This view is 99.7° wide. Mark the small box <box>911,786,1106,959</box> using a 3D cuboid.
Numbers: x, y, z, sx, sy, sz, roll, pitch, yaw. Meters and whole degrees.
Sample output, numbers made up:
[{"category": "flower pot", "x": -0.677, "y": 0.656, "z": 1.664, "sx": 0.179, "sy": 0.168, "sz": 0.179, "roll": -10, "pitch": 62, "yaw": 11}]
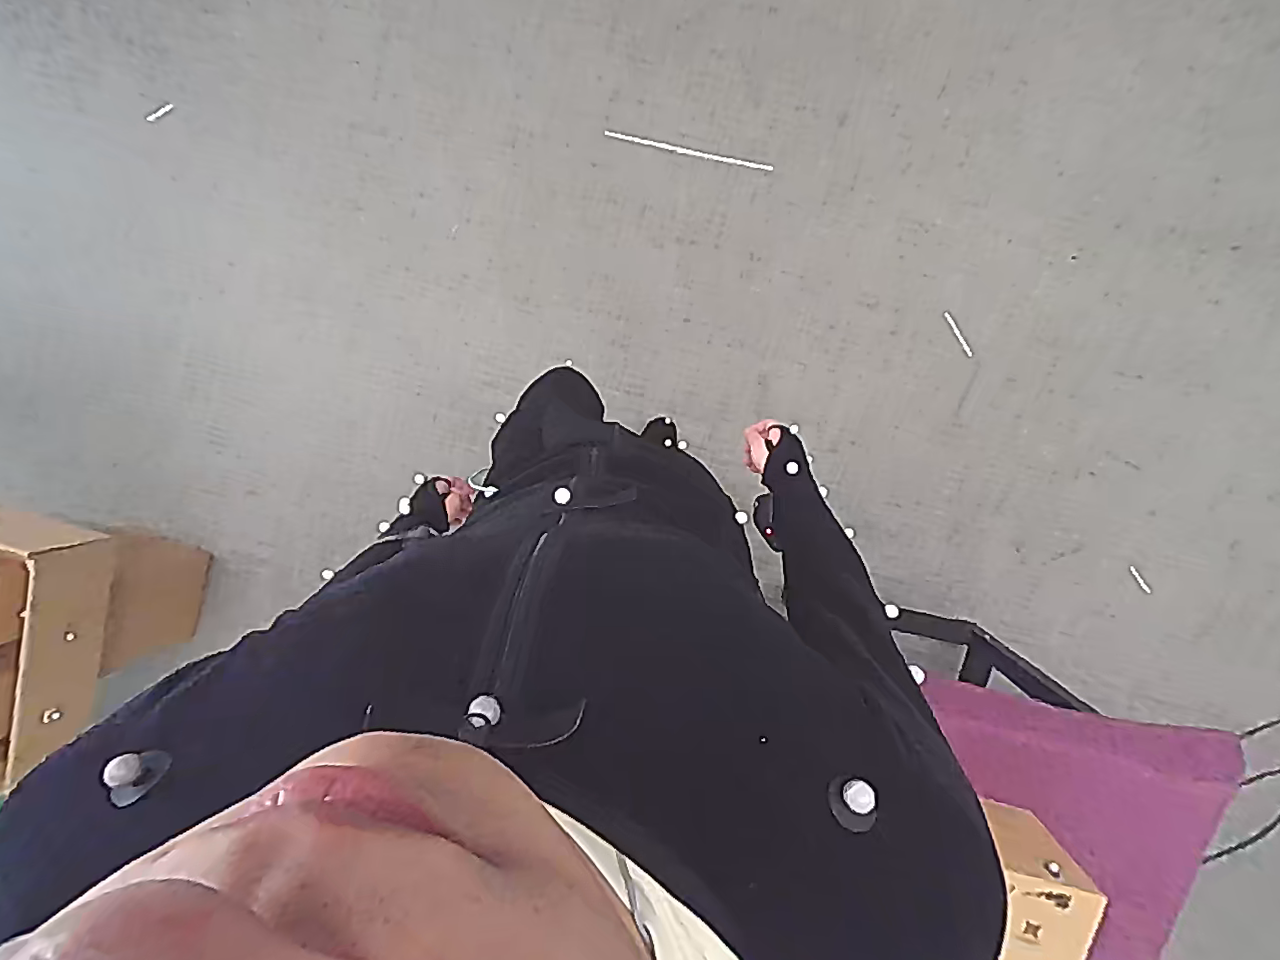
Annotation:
[{"category": "small box", "x": 0.556, "y": 0.630, "z": 0.847, "sx": 0.168, "sy": 0.176, "sz": 0.179, "roll": 15, "pitch": 98, "yaw": 1}]
